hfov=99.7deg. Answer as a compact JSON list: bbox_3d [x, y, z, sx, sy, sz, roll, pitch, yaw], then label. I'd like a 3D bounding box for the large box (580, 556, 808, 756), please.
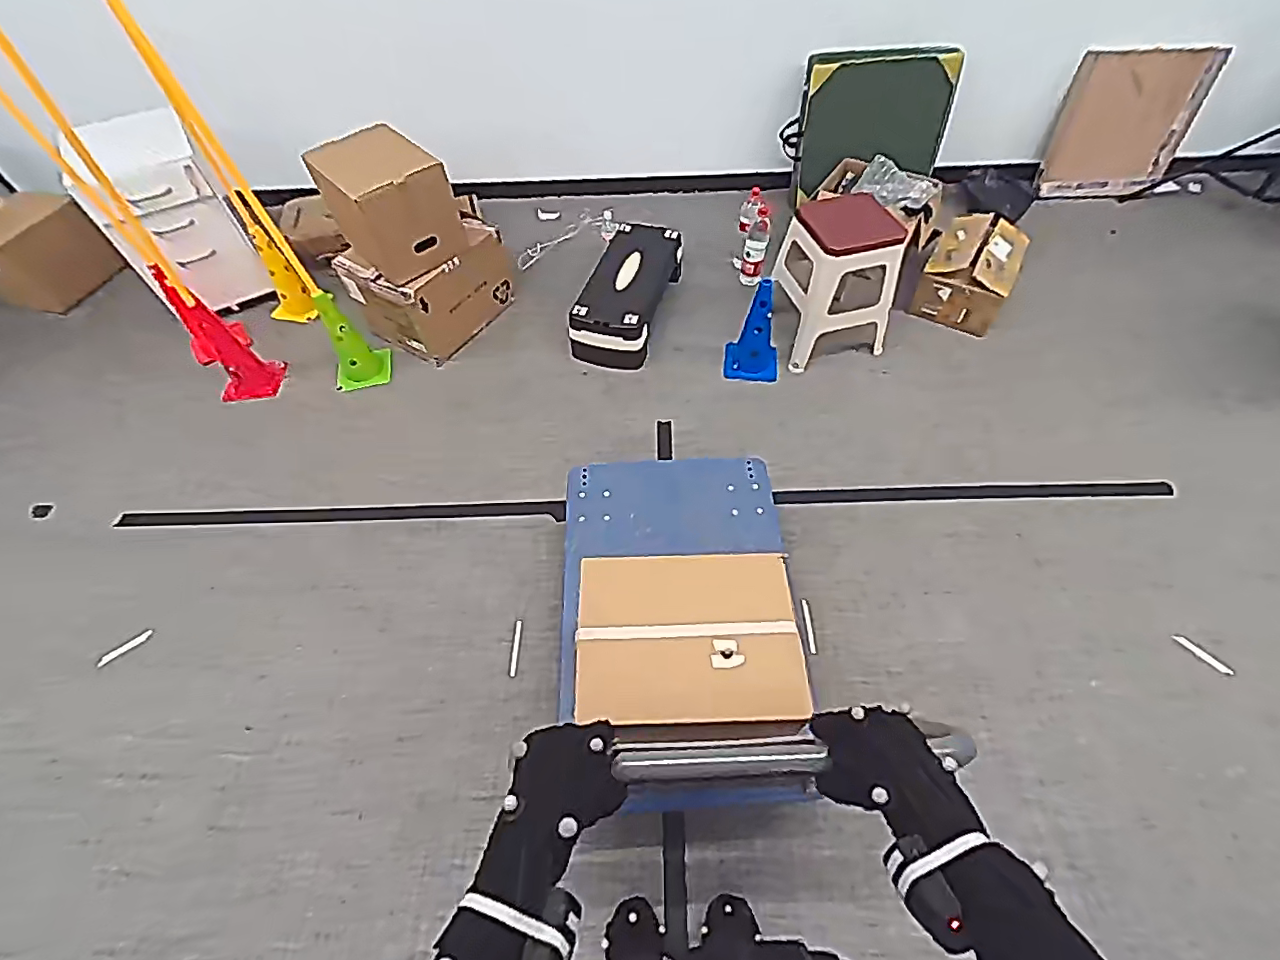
[{"bbox_3d":[0.086,0.373,1.131,0.408,0.320,0.320,-1,55,-1],"label":"large box"}]
